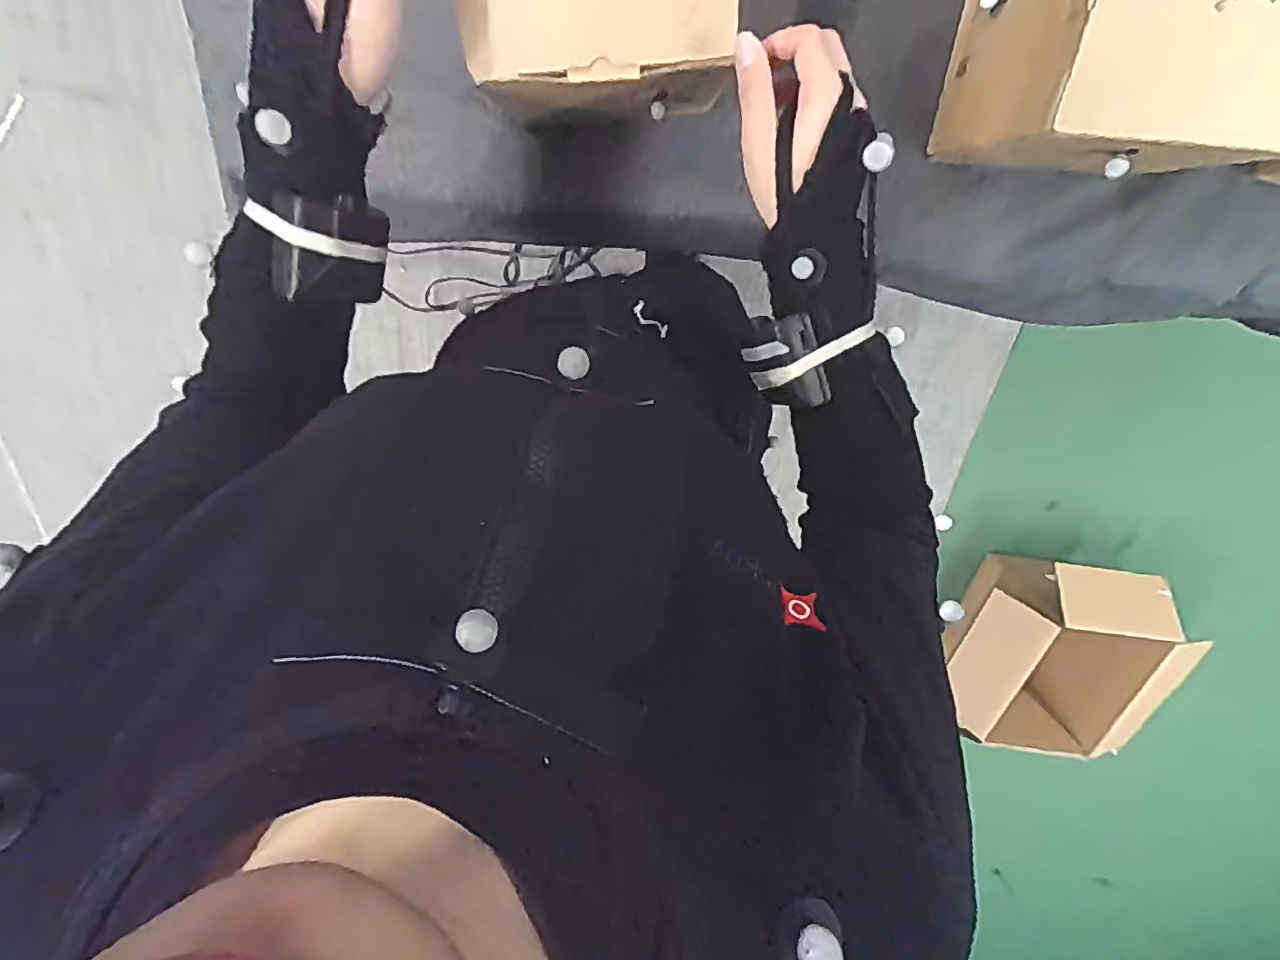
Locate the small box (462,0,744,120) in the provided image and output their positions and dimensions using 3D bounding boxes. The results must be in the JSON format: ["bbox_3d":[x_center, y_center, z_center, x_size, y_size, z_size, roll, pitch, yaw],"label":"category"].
[{"bbox_3d":[-0.023,-0.357,0.361,0.168,0.176,0.179,-4,115,1],"label":"small box"}]

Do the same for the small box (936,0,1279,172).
[{"bbox_3d":[0.349,-0.316,0.372,0.179,0.176,0.168,4,116,-1],"label":"small box"}]
